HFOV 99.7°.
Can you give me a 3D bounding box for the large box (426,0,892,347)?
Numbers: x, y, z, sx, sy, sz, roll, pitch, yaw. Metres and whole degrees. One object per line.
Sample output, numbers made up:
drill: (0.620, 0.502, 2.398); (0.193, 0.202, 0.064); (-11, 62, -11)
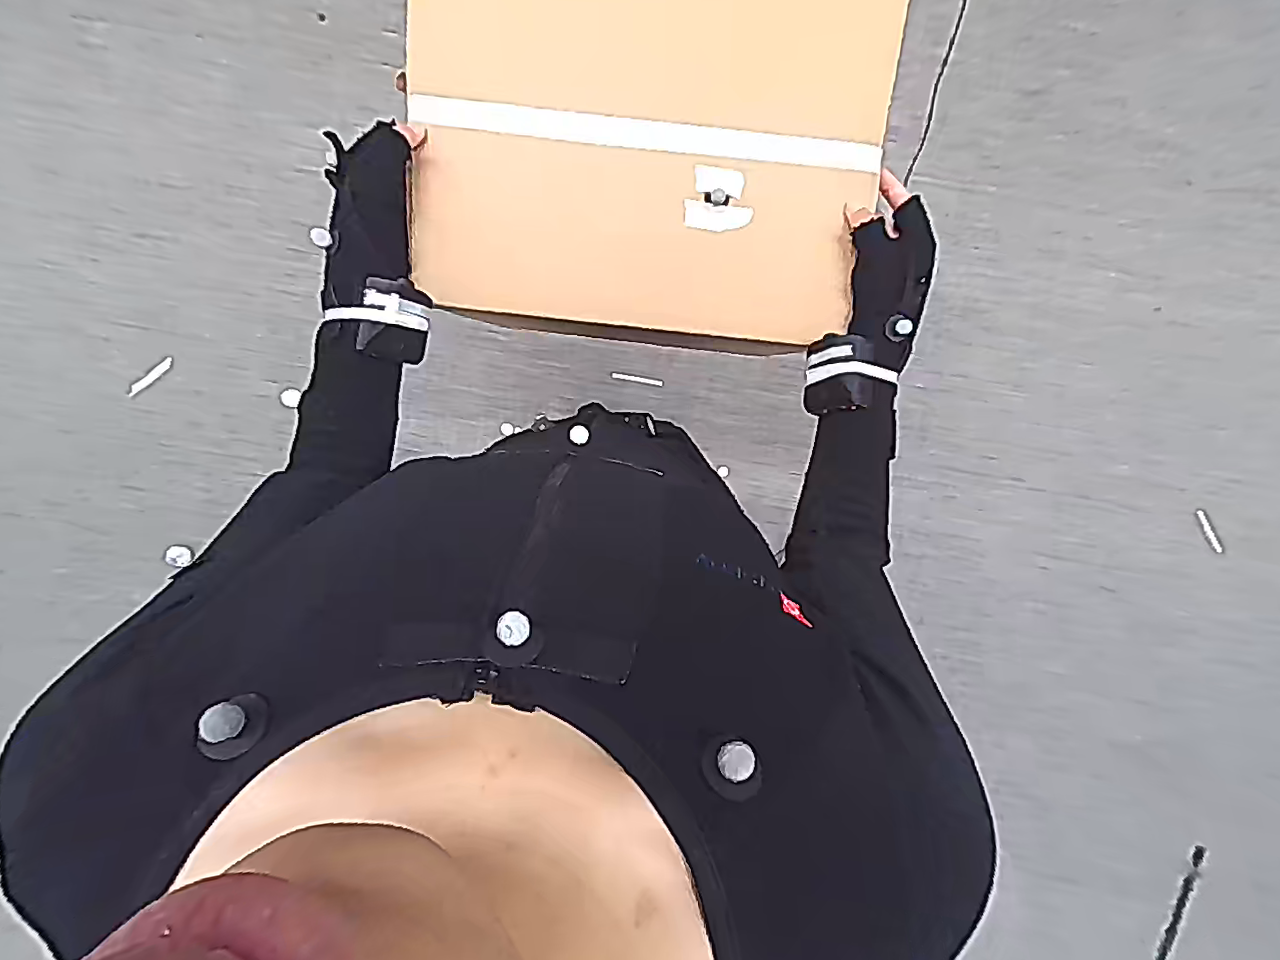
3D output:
large box: (0.005, -0.333, 0.628); (0.408, 0.320, 0.320); (5, 103, -2)
